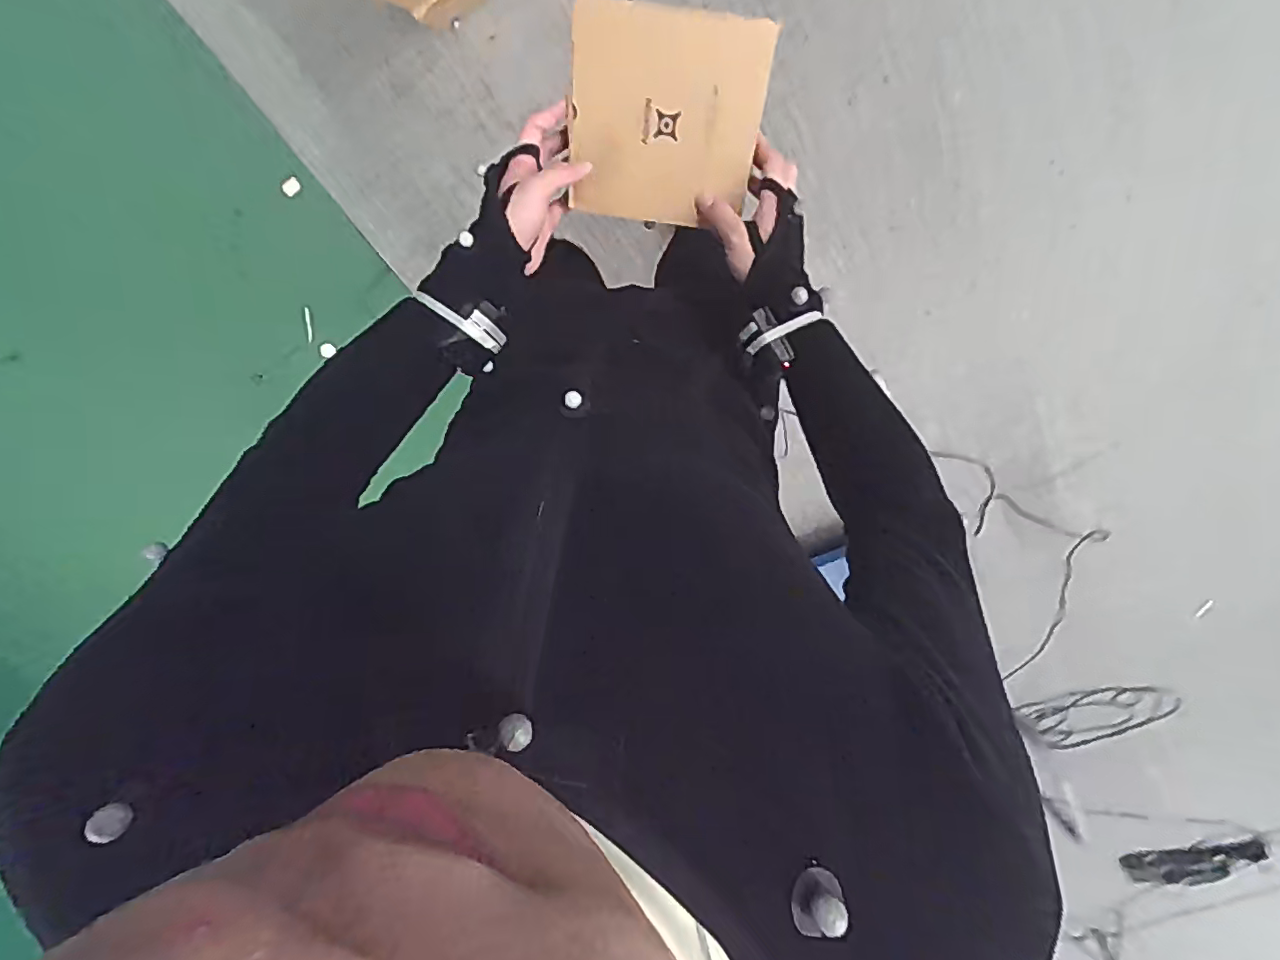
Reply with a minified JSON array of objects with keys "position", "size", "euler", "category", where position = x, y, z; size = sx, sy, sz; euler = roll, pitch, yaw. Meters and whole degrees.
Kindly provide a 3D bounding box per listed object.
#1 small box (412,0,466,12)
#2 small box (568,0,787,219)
[{"position":[-0.386,-1.037,1.029],"size":[0.168,0.176,0.179],"euler":[-21,119,18],"category":"small box"},{"position":[0.033,-0.383,0.547],"size":[0.179,0.176,0.168],"euler":[9,129,1],"category":"small box"}]
